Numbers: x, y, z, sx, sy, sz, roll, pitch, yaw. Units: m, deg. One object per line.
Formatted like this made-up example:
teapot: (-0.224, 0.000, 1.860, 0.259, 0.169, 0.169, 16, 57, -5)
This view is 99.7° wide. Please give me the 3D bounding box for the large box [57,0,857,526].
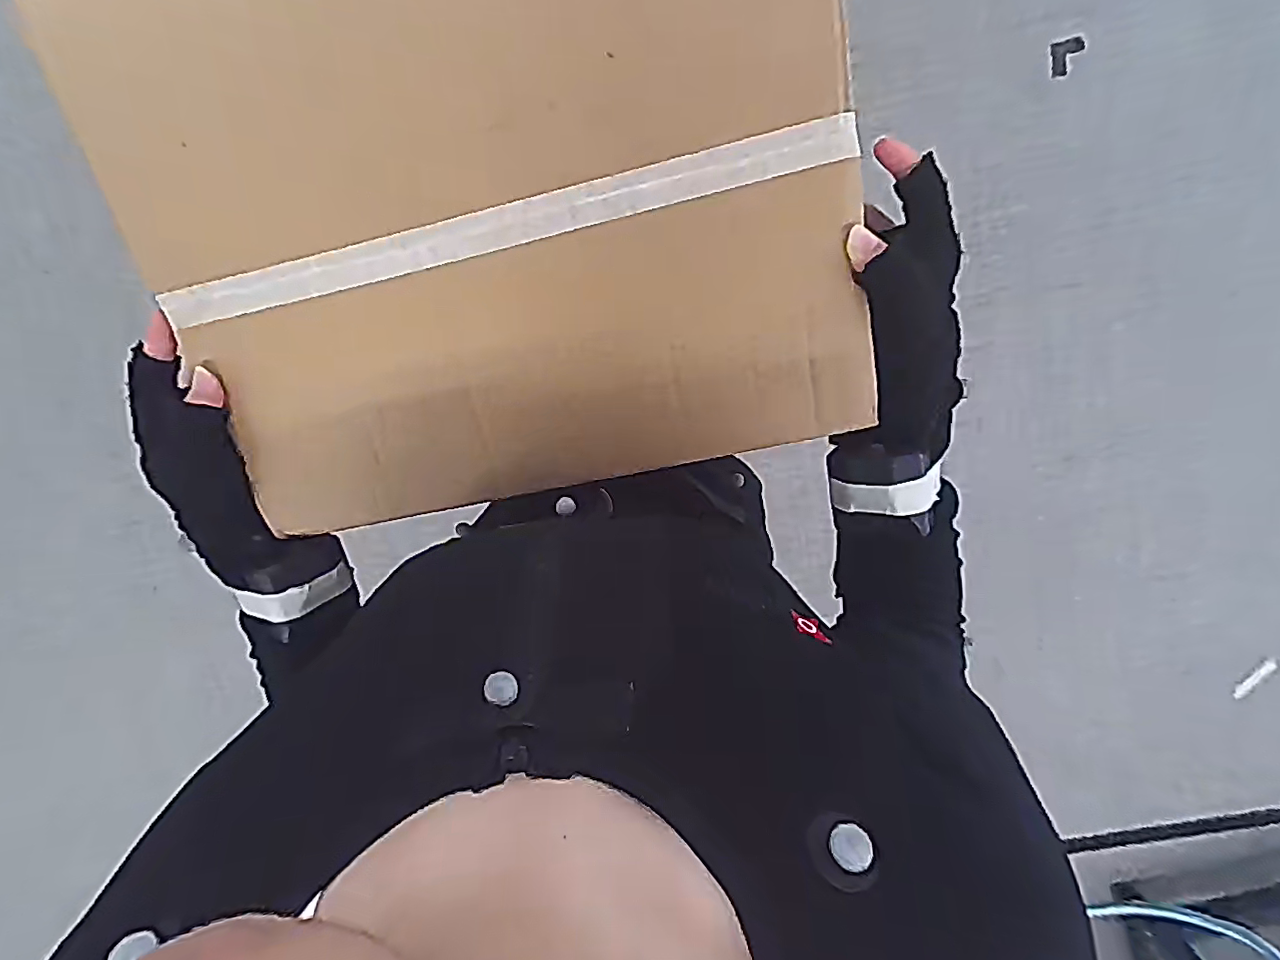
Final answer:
large box: (-0.081, -0.197, 0.453, 0.408, 0.320, 0.320, -11, 108, 7)
